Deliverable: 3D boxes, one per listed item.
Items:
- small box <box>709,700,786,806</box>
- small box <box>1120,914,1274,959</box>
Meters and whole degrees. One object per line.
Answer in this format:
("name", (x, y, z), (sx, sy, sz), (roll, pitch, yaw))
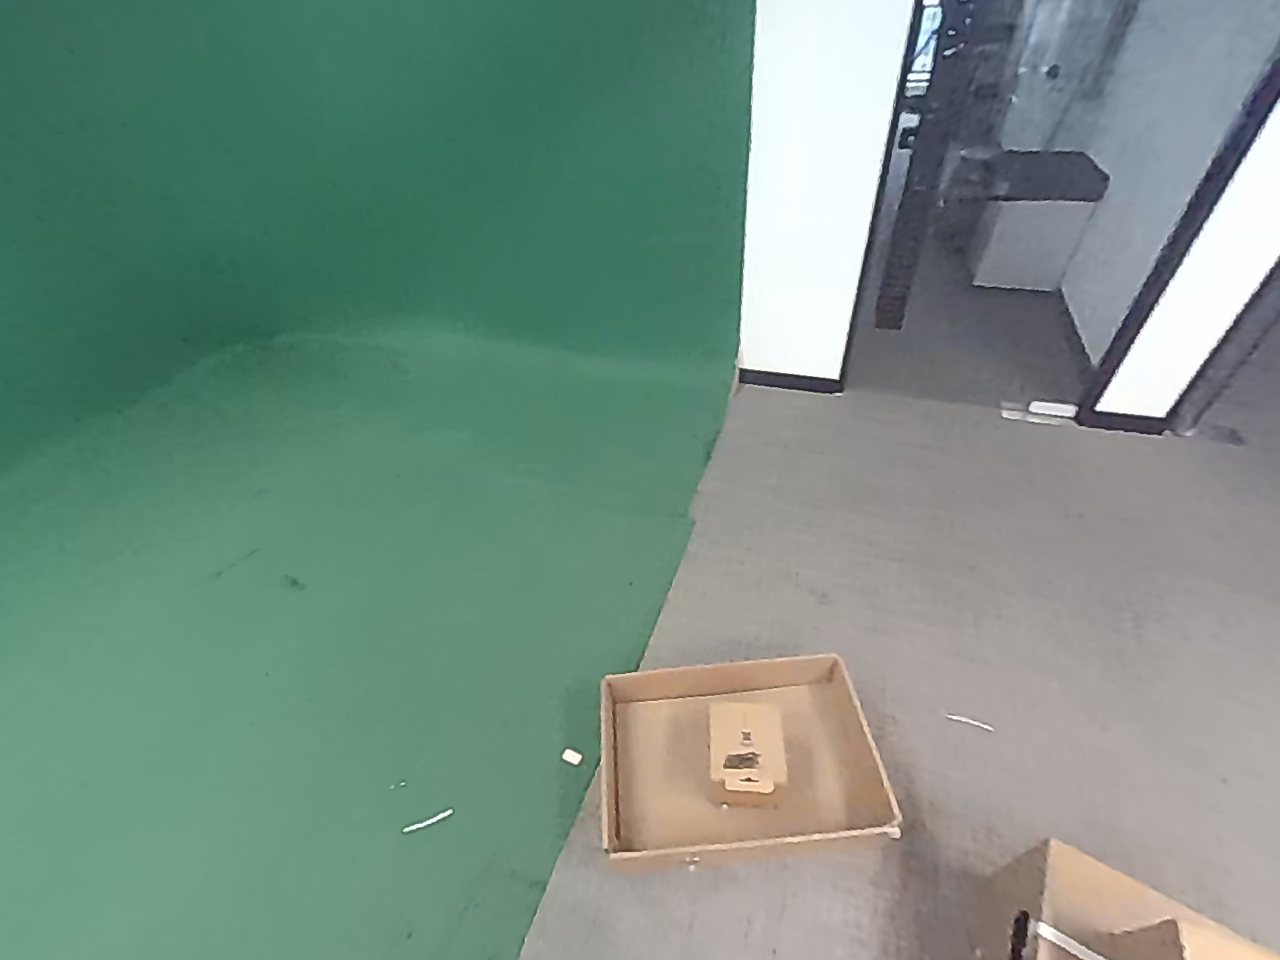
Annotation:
("small box", (0.248, 0.644, 1.273), (0.168, 0.176, 0.179), (-1, 42, 7))
("small box", (0.786, 0.738, 0.726), (0.179, 0.176, 0.168), (17, 48, 23))
